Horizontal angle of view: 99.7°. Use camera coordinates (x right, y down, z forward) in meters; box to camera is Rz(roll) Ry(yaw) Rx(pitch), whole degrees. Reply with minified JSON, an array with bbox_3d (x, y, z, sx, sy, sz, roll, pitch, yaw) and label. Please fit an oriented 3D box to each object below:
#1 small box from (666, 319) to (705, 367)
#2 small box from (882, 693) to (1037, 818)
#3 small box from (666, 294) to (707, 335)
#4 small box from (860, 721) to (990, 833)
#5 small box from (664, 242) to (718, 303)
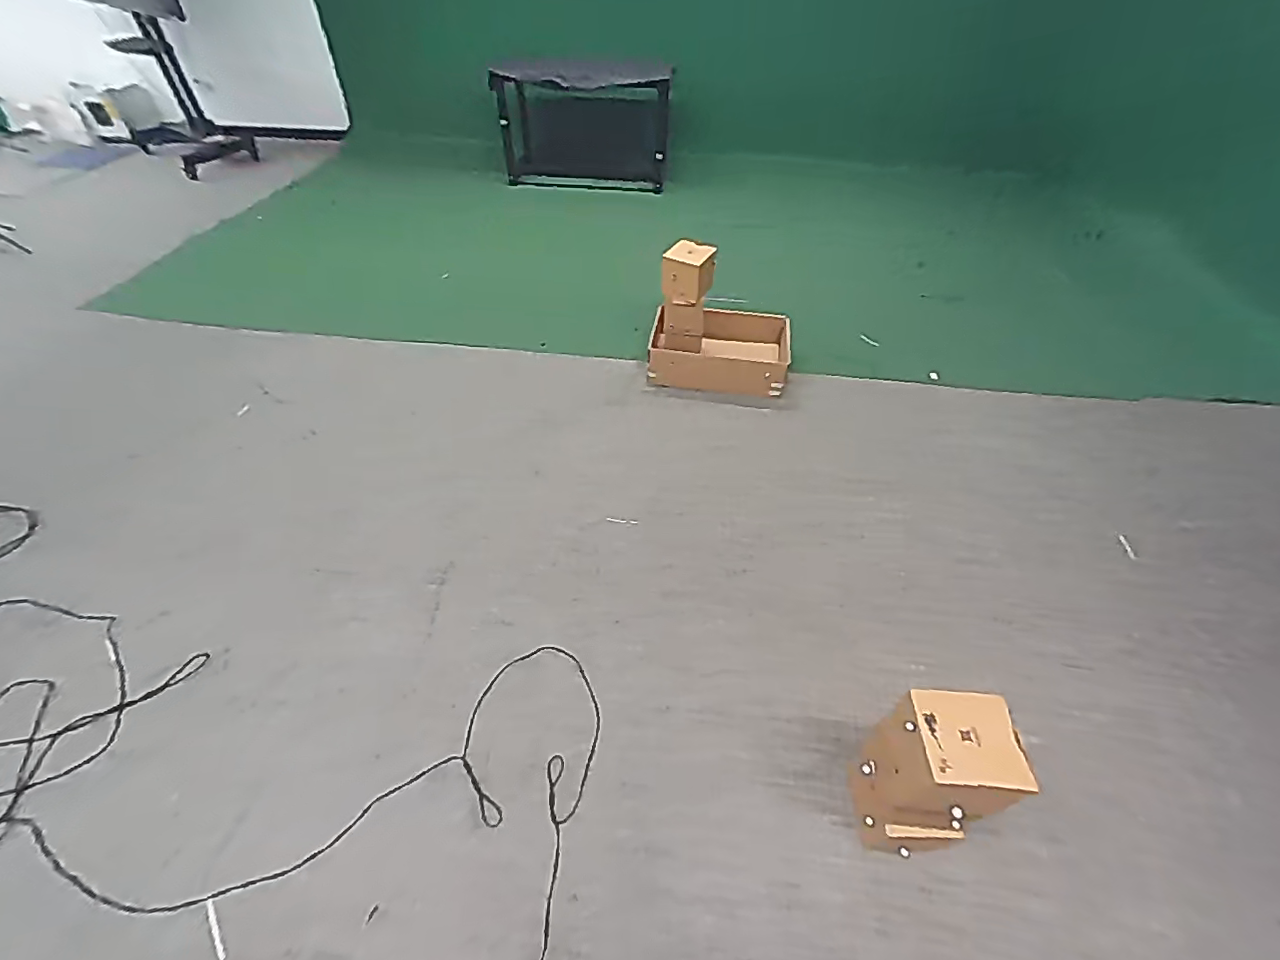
[{"bbox_3d":[0.208,-0.648,2.495,0.168,0.176,0.179,5,47,4],"label":"small box"},{"bbox_3d":[0.589,0.526,1.026,0.179,0.176,0.168,5,46,2],"label":"small box"},{"bbox_3d":[0.204,-0.753,2.368,0.168,0.176,0.179,7,47,4],"label":"small box"},{"bbox_3d":[0.593,0.634,1.149,0.179,0.176,0.168,4,46,4],"label":"small box"},{"bbox_3d":[0.210,-0.858,2.244,0.168,0.176,0.179,24,50,19],"label":"small box"}]
